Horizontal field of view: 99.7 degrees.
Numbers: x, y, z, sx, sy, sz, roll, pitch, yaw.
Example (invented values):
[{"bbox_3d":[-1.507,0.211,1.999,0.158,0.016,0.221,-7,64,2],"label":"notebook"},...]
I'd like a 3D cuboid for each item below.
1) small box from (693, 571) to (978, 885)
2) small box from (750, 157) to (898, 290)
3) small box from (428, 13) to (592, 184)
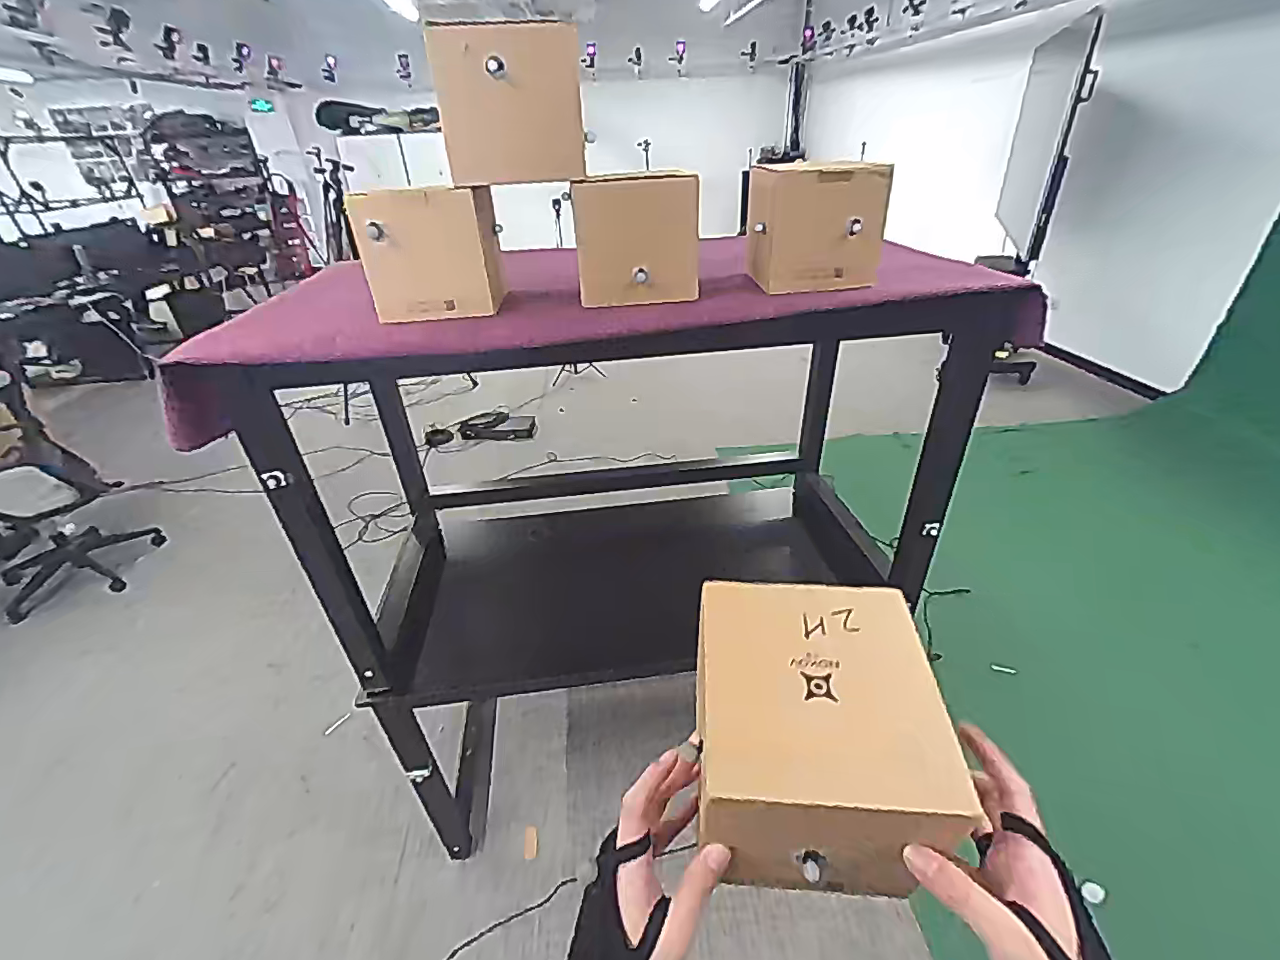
[{"bbox_3d":[0.130,0.197,0.436,0.168,0.176,0.179,2,39,5],"label":"small box"},{"bbox_3d":[0.272,-0.398,0.843,0.168,0.176,0.179,-3,32,-1],"label":"small box"},{"bbox_3d":[-0.159,-0.499,0.728,0.179,0.176,0.168,-4,31,-3],"label":"small box"}]
